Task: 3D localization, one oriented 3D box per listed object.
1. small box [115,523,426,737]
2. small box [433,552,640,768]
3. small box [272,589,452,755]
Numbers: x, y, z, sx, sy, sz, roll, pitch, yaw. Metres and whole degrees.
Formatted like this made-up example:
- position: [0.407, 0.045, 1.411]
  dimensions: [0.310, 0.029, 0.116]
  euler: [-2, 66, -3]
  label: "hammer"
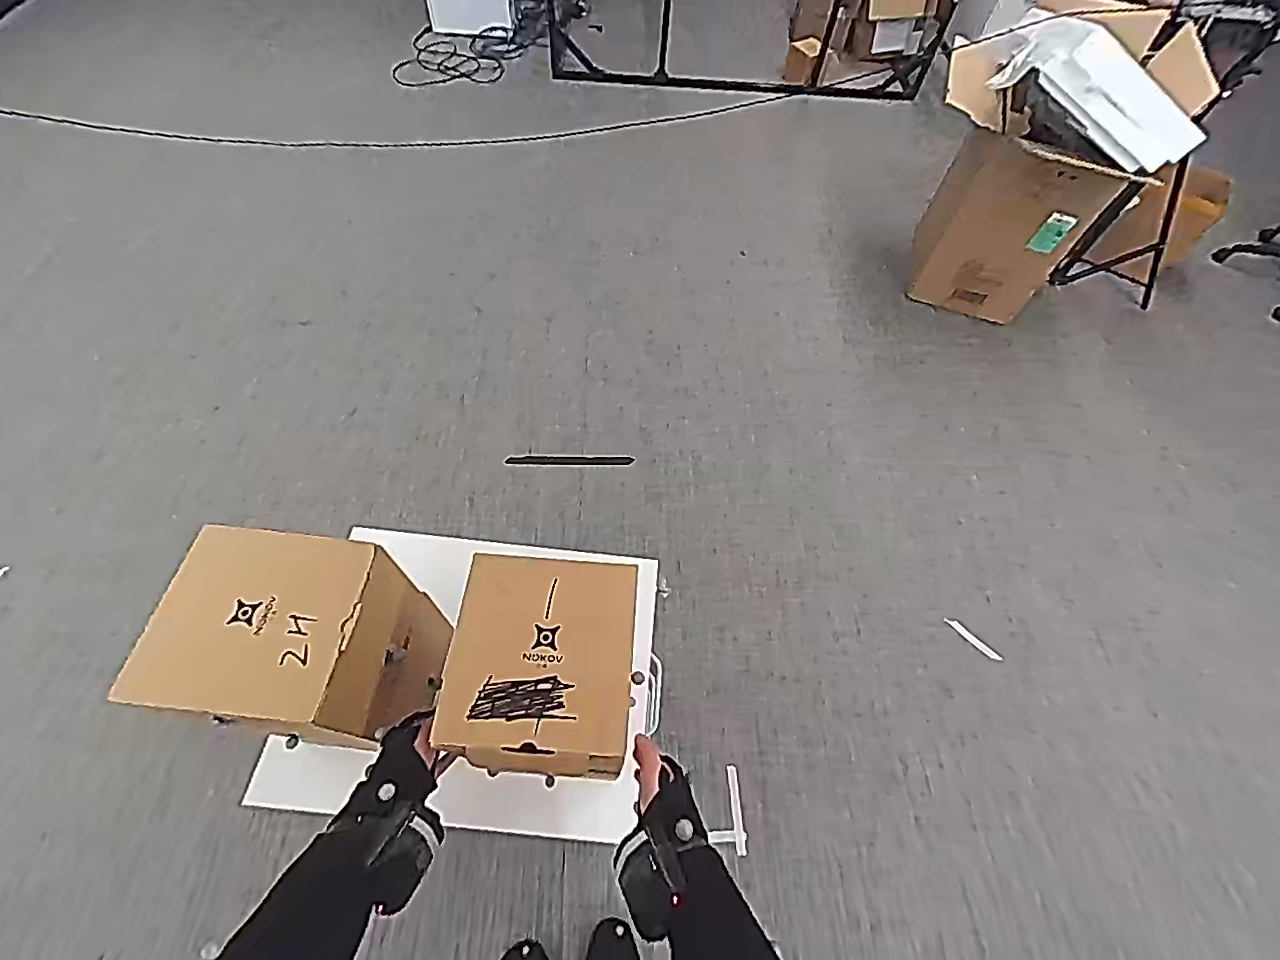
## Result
- position: [-0.350, 0.162, 0.559]
  dimensions: [0.179, 0.176, 0.168]
  euler: [7, 60, 0]
  label: "small box"
- position: [-0.090, 0.193, 0.560]
  dimensions: [0.168, 0.176, 0.179]
  euler: [5, 58, -1]
  label: "small box"
- position: [-0.359, 0.243, 0.702]
  dimensions: [0.168, 0.176, 0.179]
  euler: [7, 58, 1]
  label: "small box"
